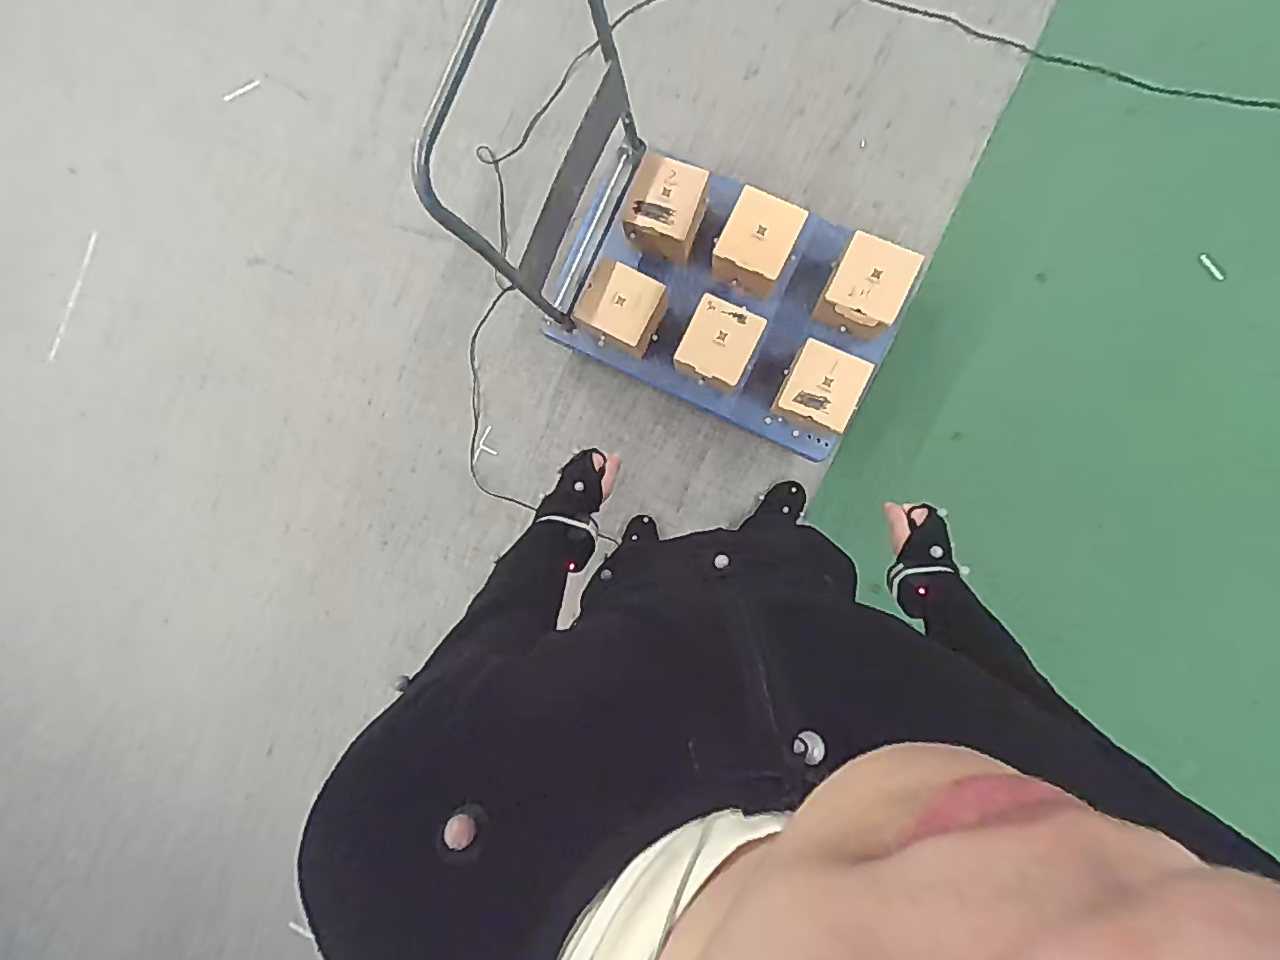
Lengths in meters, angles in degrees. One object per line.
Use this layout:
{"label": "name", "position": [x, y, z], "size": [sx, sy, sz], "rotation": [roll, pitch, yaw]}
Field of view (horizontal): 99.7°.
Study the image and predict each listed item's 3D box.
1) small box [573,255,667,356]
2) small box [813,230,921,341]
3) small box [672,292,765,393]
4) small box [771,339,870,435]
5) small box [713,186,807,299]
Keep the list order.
{"label": "small box", "position": [-0.044, -0.434, 1.383], "size": [0.179, 0.176, 0.168], "rotation": [28, 94, 4]}
{"label": "small box", "position": [0.542, -0.465, 1.319], "size": [0.168, 0.176, 0.179], "rotation": [25, 94, 6]}
{"label": "small box", "position": [0.195, -0.335, 1.359], "size": [0.168, 0.176, 0.179], "rotation": [27, 94, 5]}
{"label": "small box", "position": [0.439, -0.222, 1.352], "size": [0.168, 0.176, 0.179], "rotation": [25, 93, 5]}
{"label": "small box", "position": [0.288, -0.583, 1.347], "size": [0.168, 0.176, 0.179], "rotation": [26, 95, 4]}
